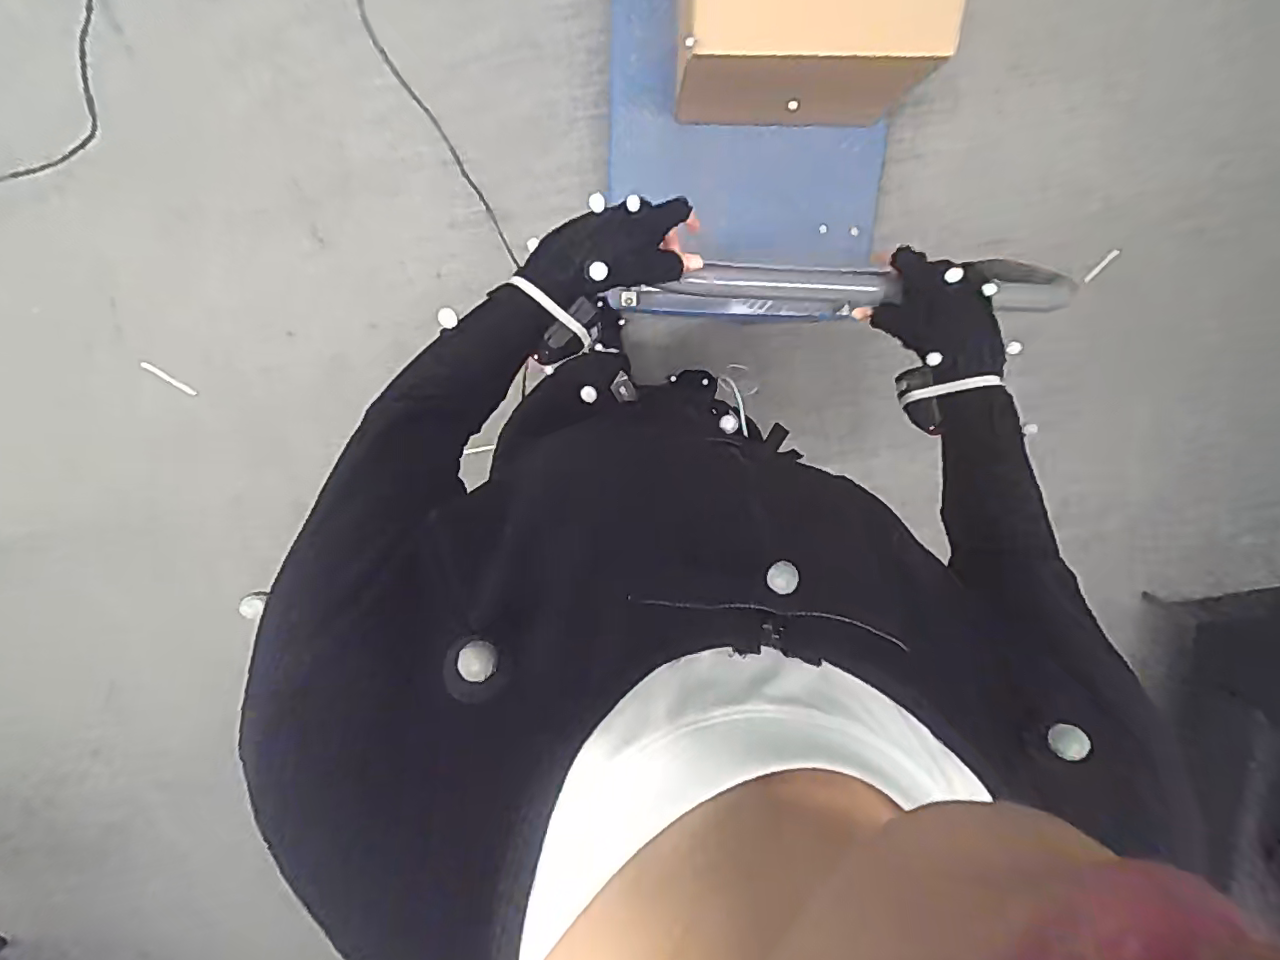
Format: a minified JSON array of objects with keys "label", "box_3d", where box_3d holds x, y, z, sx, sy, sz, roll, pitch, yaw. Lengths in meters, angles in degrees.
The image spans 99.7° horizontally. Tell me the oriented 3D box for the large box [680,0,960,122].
[{"label":"large box","box_3d":[0.282,-0.840,0.928,0.408,0.320,0.320,0,106,0]}]
